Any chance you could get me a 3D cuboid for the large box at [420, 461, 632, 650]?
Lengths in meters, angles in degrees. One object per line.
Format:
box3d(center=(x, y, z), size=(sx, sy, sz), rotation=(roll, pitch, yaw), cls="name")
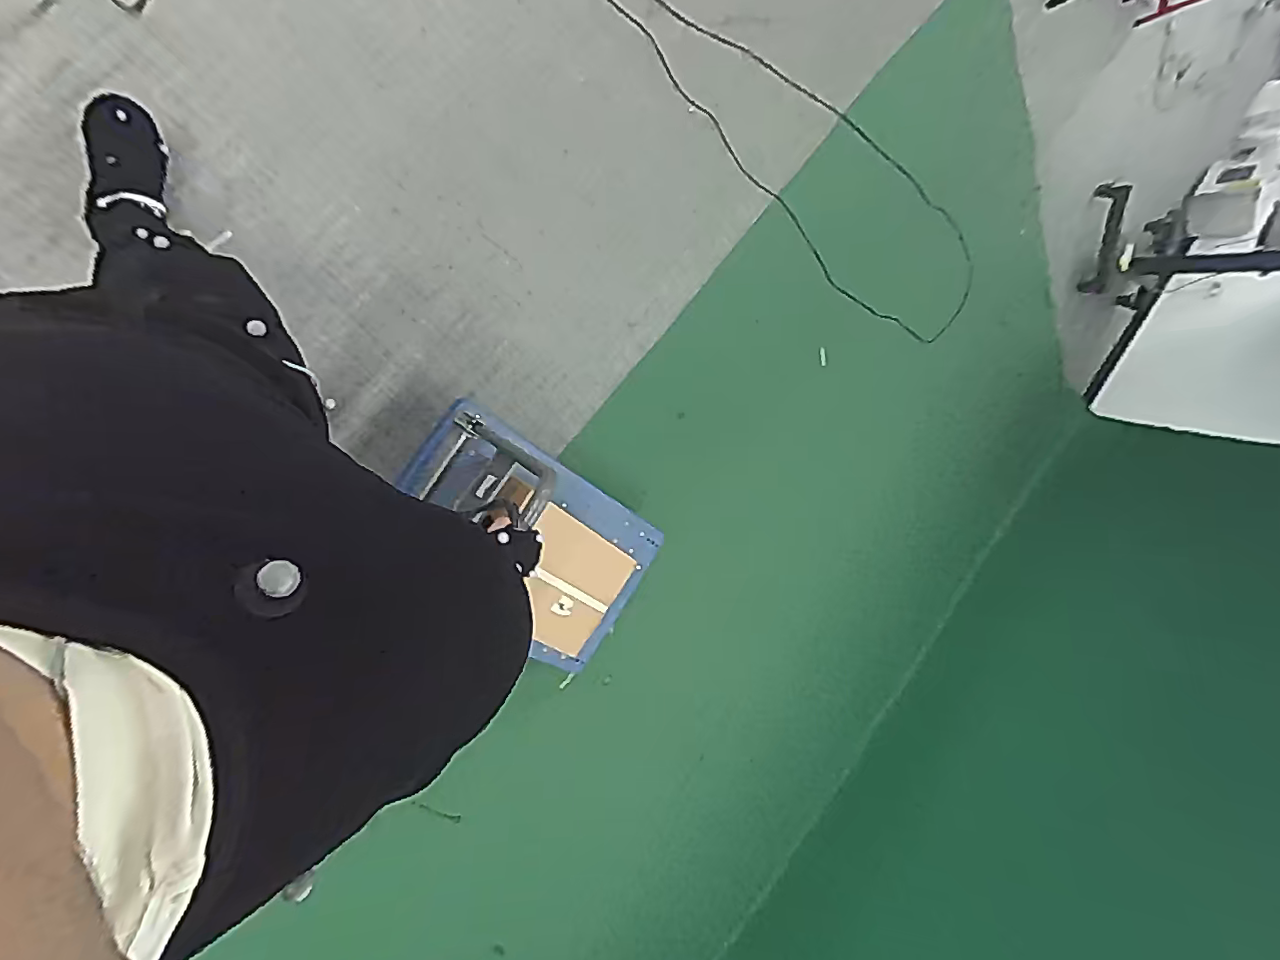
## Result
box3d(center=(-0.310, 0.200, 1.475), size=(0.408, 0.320, 0.320), rotation=(40, 82, -37), cls="large box")
